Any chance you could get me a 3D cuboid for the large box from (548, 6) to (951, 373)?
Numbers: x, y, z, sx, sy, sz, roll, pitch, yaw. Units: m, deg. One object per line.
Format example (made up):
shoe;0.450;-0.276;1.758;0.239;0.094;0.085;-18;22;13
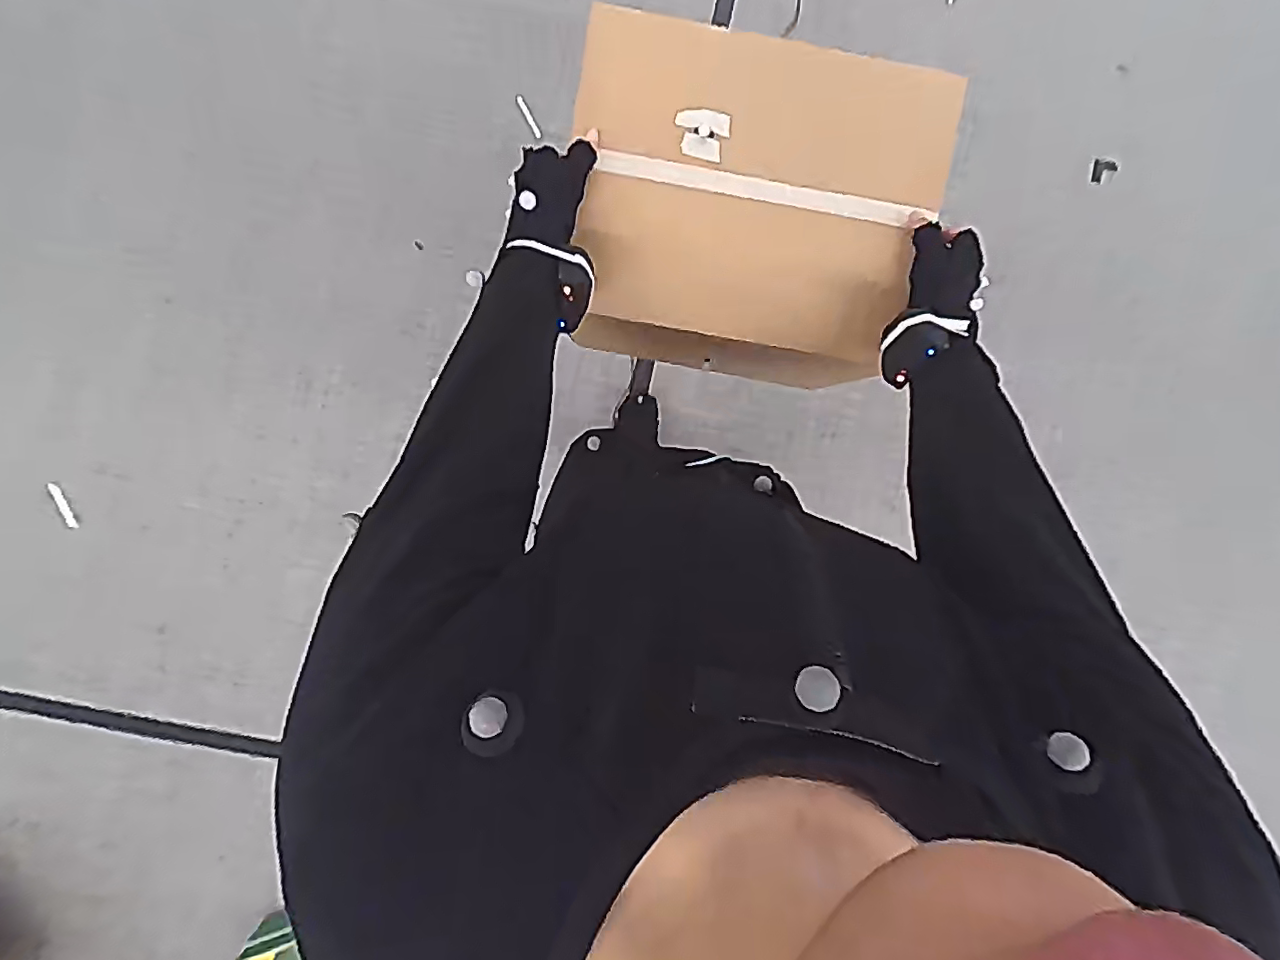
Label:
large box;0.117;-0.338;0.738;0.408;0.320;0.320;10;95;-1
